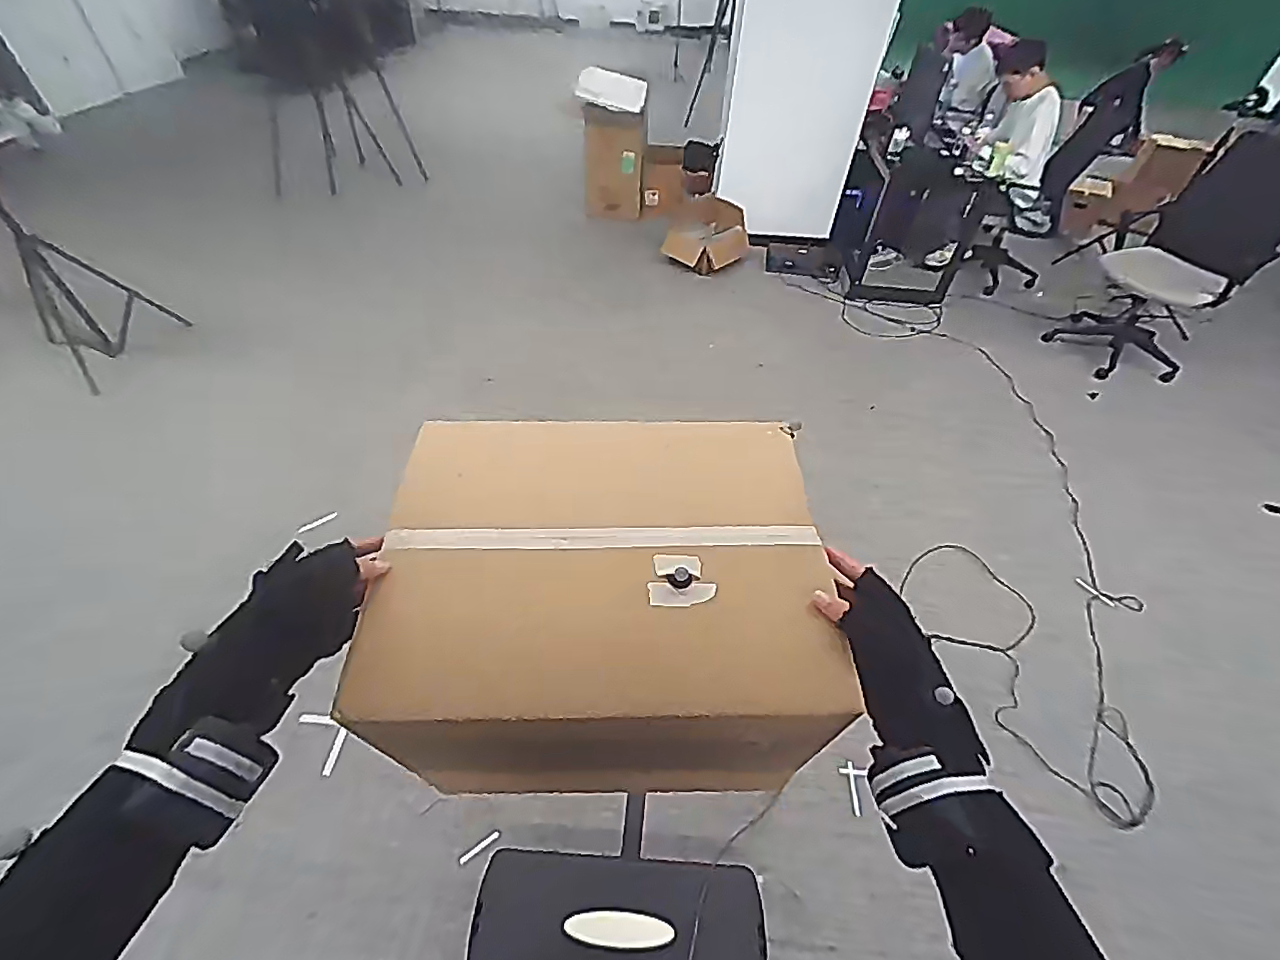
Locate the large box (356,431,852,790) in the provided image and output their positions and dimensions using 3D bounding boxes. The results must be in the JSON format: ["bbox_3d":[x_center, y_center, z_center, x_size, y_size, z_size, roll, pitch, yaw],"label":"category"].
[{"bbox_3d":[-0.035,0.157,0.635,0.408,0.320,0.320,1,51,-2],"label":"large box"}]
